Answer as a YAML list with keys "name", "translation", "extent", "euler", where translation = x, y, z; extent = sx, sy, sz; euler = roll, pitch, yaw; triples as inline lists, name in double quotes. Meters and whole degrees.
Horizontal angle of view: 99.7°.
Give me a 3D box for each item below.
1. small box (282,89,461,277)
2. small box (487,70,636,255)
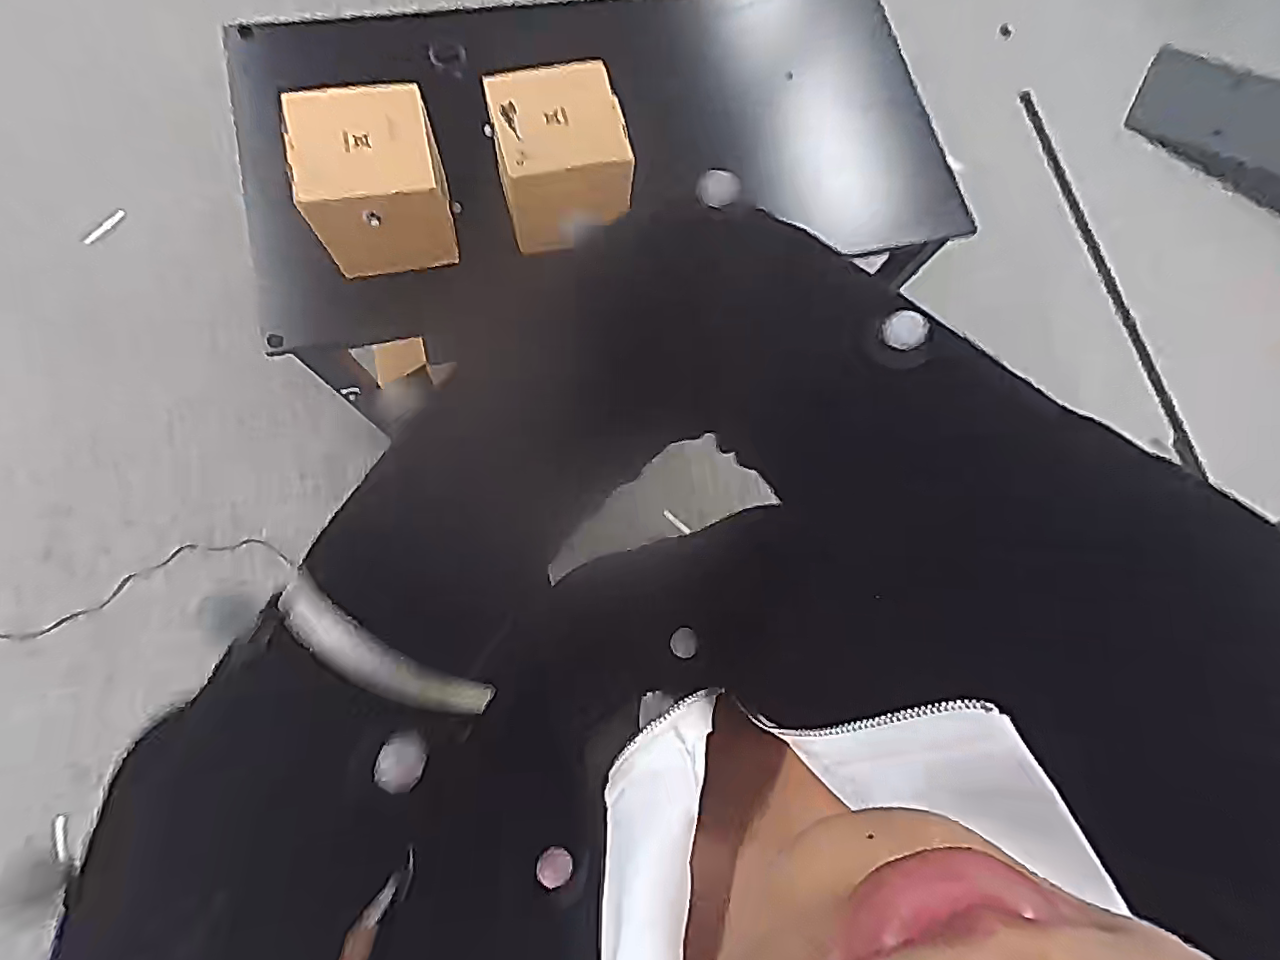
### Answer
- name: "small box"
  translation: [-0.373, -0.415, 0.778]
  extent: [0.179, 0.176, 0.168]
  euler: [-12, 80, -10]
- name: "small box"
  translation: [-0.118, -0.470, 0.819]
  extent: [0.179, 0.176, 0.168]
  euler: [-14, 79, -10]
